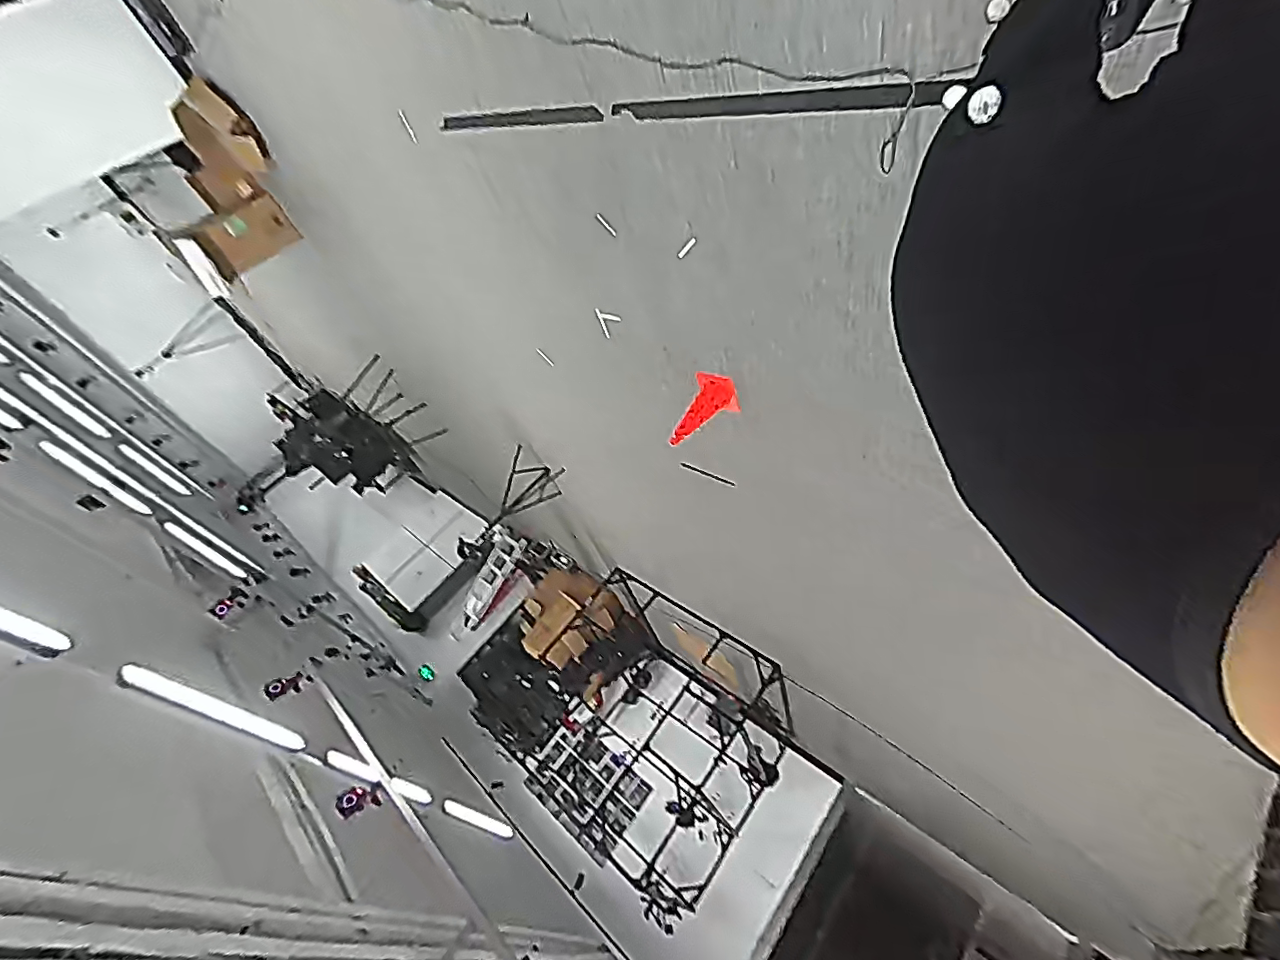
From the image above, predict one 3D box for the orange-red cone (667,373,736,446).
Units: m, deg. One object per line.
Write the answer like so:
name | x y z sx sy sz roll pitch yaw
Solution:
orange-red cone | 0.238 -0.282 2.398 0.199 0.360 0.198 21 150 39
